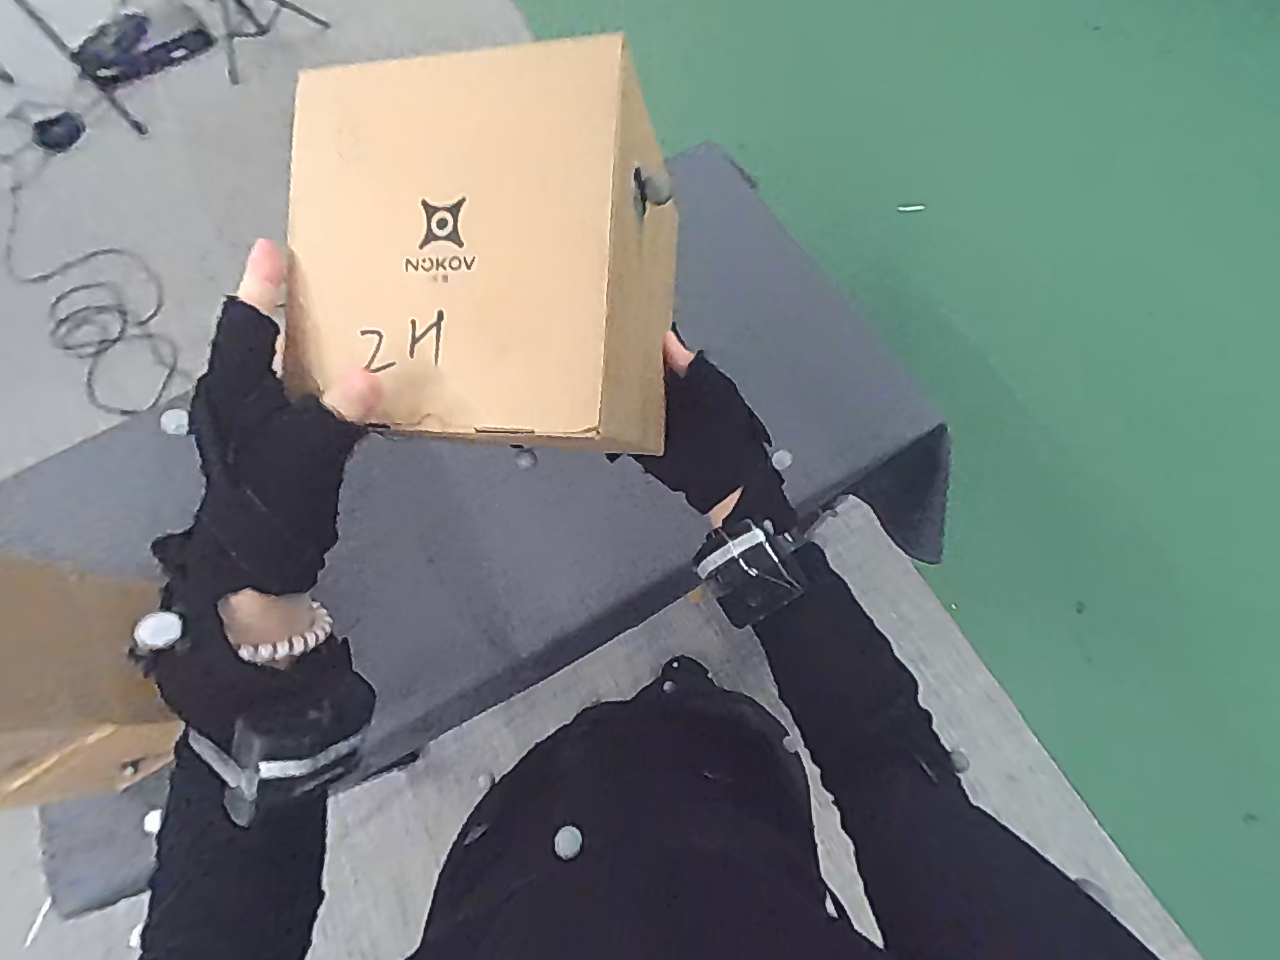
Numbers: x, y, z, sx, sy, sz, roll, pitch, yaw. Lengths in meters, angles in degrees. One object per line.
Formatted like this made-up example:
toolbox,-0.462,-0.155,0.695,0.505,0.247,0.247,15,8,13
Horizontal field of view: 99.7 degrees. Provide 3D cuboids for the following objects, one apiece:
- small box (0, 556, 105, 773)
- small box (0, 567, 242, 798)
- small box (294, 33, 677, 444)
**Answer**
small box,-0.613,0.169,0.453,0.168,0.176,0.179,-30,72,-7
small box,-0.601,0.225,0.606,0.168,0.176,0.179,-31,72,-6
small box,-0.072,-0.118,0.334,0.168,0.176,0.179,4,92,12
